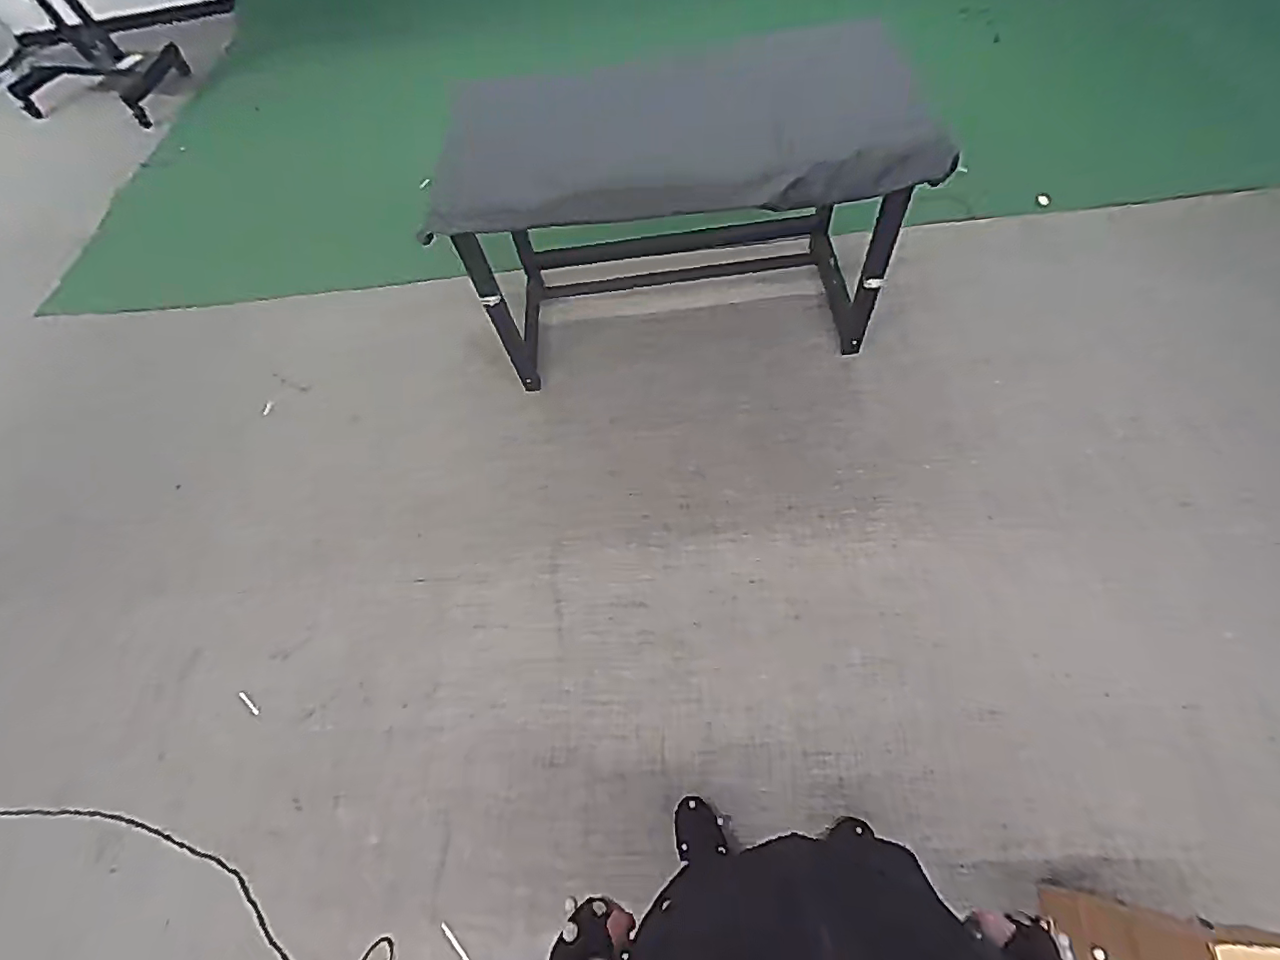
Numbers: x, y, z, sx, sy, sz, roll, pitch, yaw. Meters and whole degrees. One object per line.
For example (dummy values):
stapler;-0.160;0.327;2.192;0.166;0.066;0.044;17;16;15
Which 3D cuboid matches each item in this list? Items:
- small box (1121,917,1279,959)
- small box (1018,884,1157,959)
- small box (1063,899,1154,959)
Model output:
small box;0.856;0.758;0.784;0.179;0.176;0.168;0;61;6
small box;0.890;0.923;1.065;0.179;0.176;0.168;6;61;10
small box;0.875;0.845;0.920;0.179;0.176;0.168;8;62;10
